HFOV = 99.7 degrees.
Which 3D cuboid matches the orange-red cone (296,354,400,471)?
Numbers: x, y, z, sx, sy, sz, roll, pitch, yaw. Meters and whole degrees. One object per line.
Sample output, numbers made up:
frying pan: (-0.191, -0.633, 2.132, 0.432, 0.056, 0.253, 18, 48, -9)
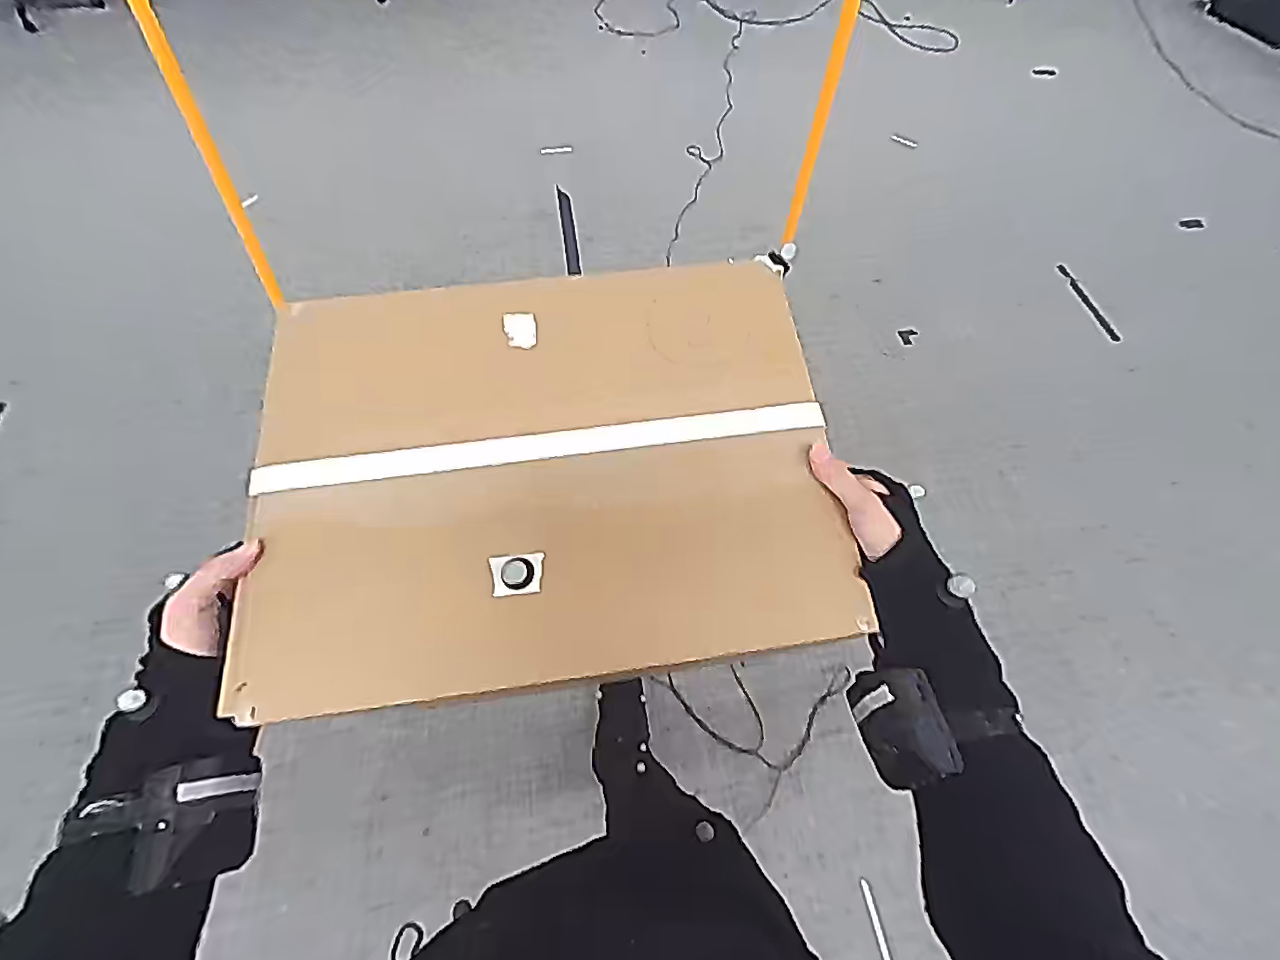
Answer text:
orange-red cone: (-0.833, -0.208, 1.488, 0.199, 0.360, 0.198, -16, 61, -8)
